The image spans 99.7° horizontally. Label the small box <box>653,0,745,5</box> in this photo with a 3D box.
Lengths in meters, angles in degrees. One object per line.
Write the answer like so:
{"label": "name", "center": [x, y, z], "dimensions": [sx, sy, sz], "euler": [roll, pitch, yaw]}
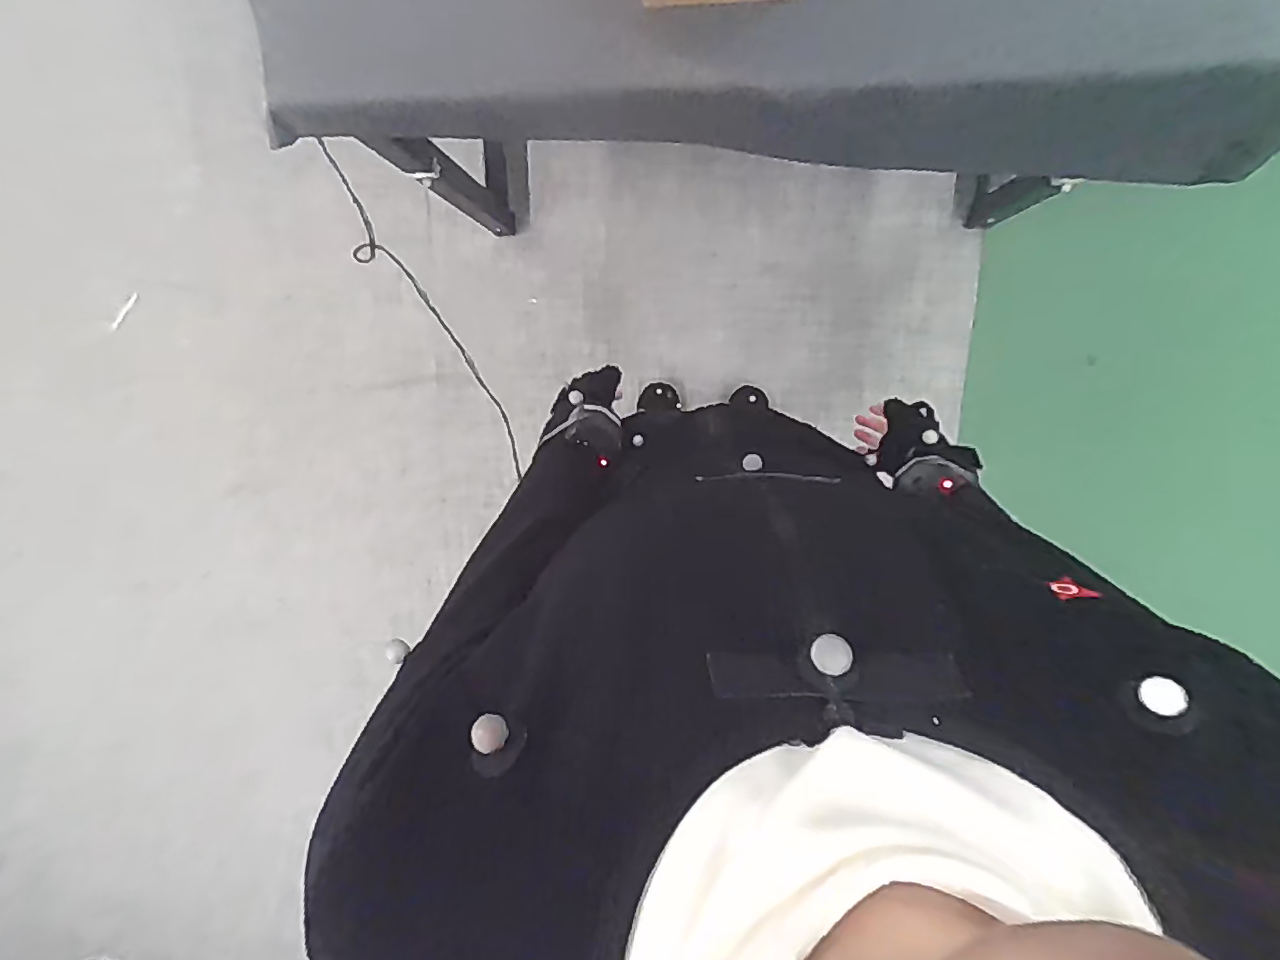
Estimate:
{"label": "small box", "center": [0.087, -0.590, 0.500], "dimensions": [0.179, 0.176, 0.168], "euler": [1, 100, 7]}
